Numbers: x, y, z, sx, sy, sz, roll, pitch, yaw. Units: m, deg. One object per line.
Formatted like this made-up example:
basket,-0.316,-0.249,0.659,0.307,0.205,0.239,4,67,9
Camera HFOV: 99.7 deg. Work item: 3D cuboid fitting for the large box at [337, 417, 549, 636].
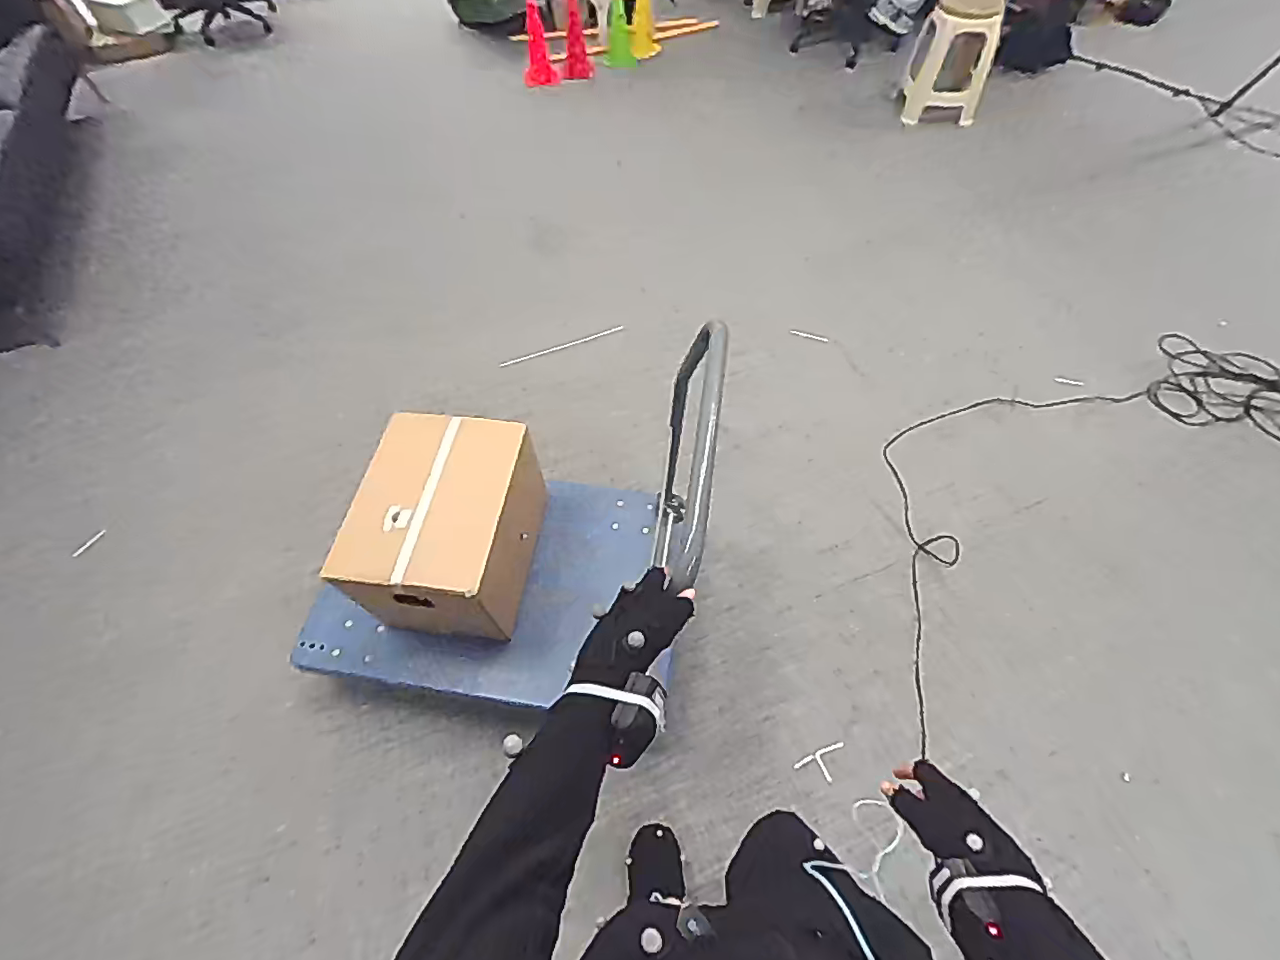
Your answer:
large box,-0.413,0.111,1.253,0.320,0.320,0.408,4,59,4
